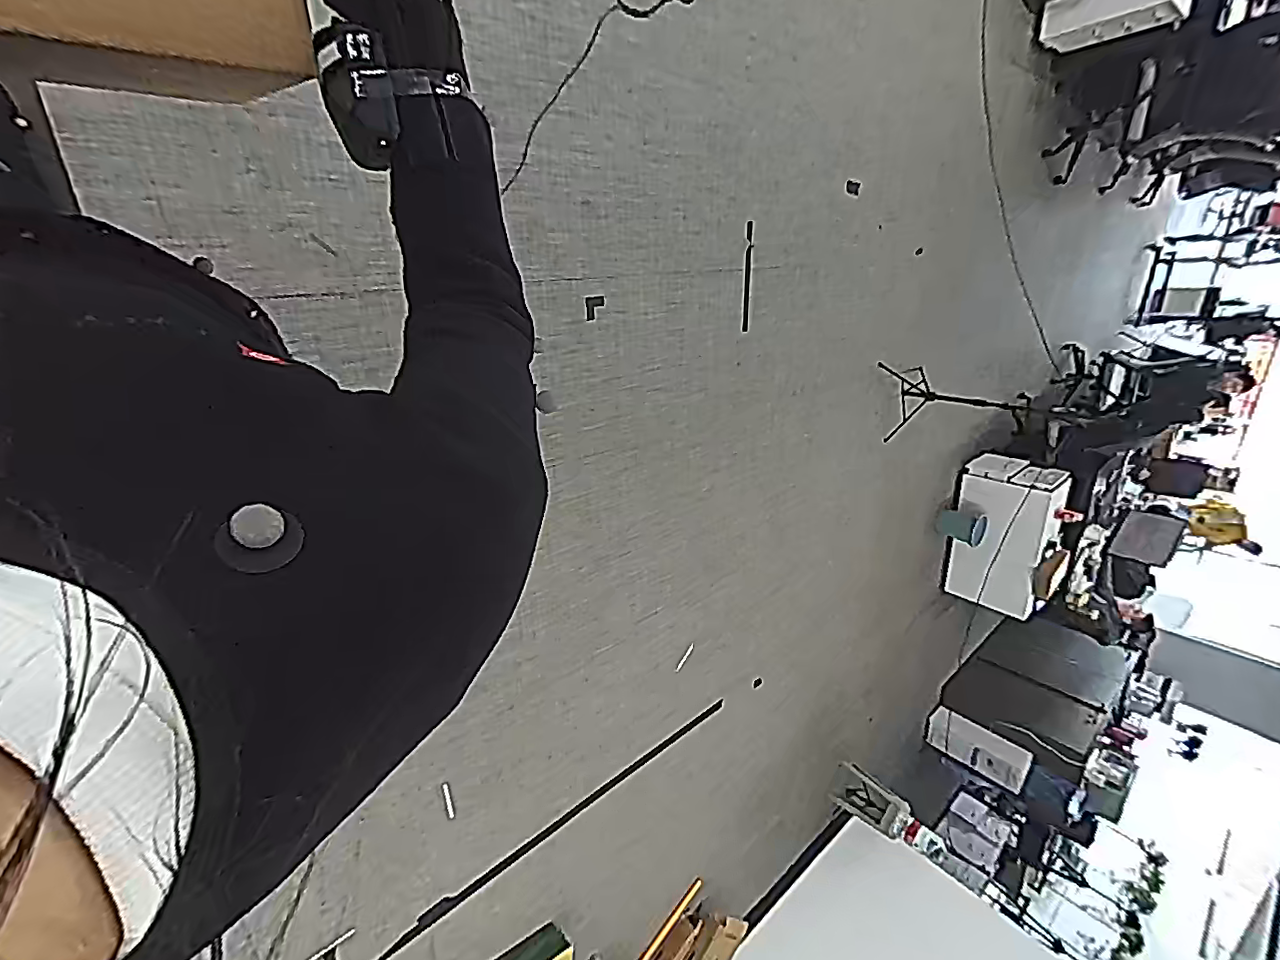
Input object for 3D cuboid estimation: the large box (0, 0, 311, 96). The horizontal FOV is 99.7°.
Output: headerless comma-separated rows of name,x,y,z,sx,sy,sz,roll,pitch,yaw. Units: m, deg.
large box,-0.445,-0.393,0.248,0.408,0.320,0.320,-20,128,-36
